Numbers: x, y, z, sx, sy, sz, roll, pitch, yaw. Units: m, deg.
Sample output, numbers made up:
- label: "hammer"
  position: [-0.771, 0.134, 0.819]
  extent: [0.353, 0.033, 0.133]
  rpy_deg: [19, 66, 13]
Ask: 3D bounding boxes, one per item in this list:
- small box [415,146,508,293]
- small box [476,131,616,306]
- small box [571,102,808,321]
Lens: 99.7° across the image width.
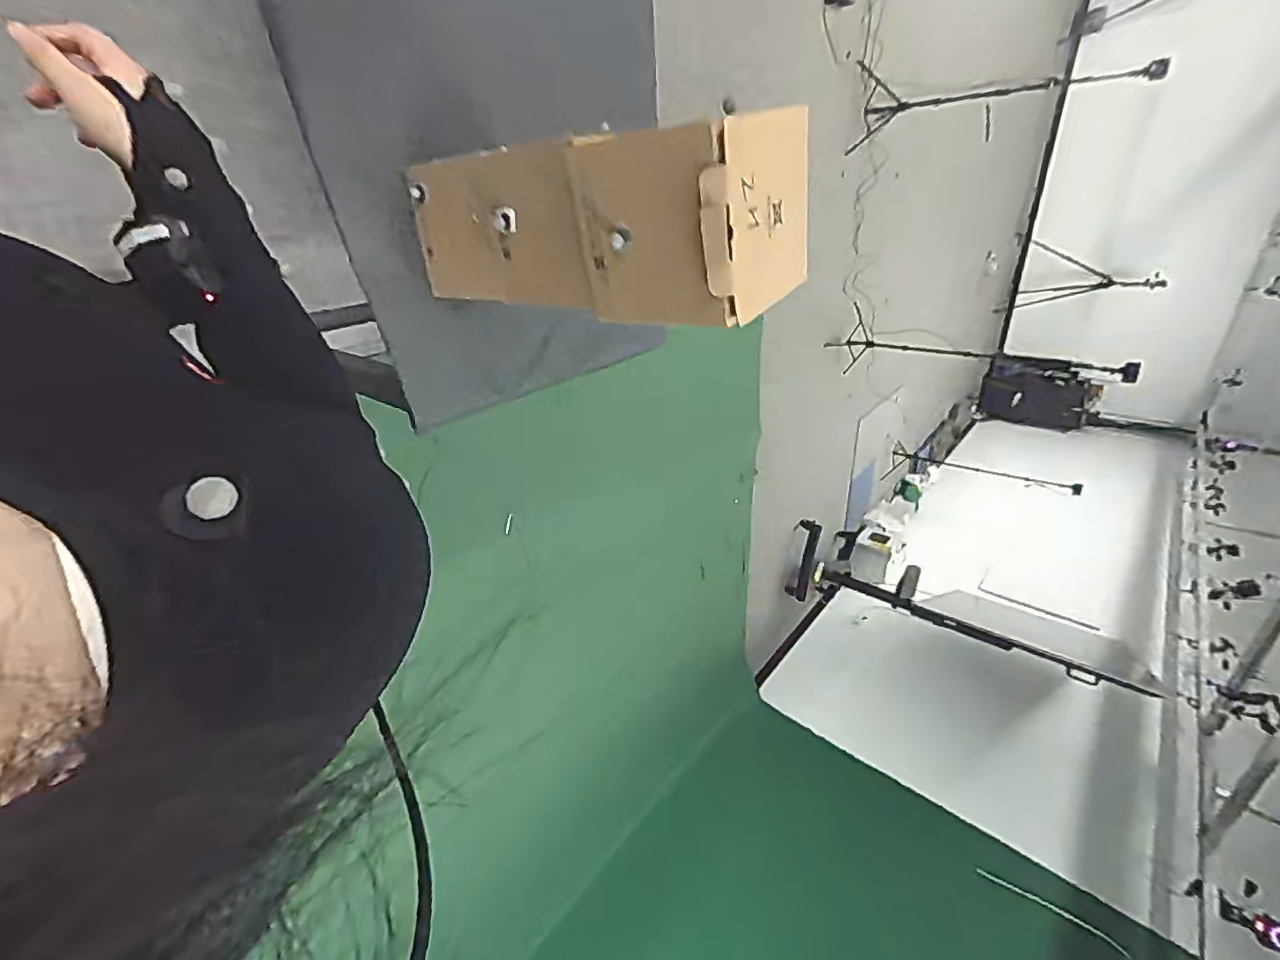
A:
- label: "small box"
  position: [-0.188, -0.357, 0.756]
  extent: [0.179, 0.176, 0.168]
  rpy_deg: [-33, 128, -43]
- label: "small box"
  position: [-0.065, -0.318, 0.657]
  extent: [0.179, 0.176, 0.168]
  rpy_deg: [-35, 129, -40]
- label: "small box"
  position: [0.058, -0.273, 0.556]
  extent: [0.179, 0.176, 0.168]
  rpy_deg: [-39, 131, -38]
